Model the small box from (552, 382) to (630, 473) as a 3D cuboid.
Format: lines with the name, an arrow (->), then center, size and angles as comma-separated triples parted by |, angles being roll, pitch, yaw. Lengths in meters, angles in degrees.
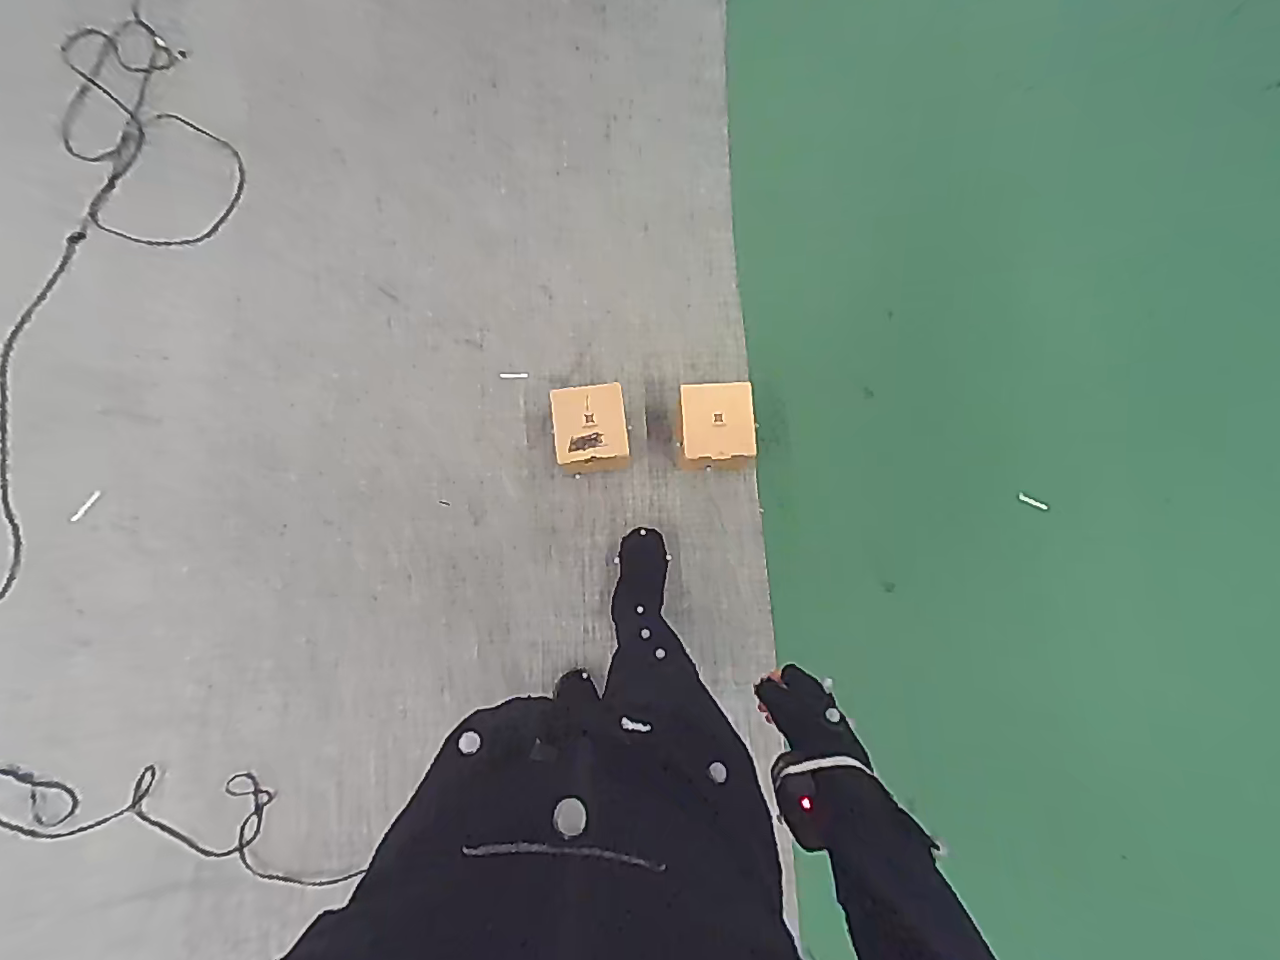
small box -> -0.113, -0.119, 1.306 | 0.168, 0.176, 0.179 | -7, 80, -3

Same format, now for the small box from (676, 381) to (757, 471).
small box -> 0.180, -0.127, 1.314 | 0.168, 0.176, 0.179 | -3, 80, -1
